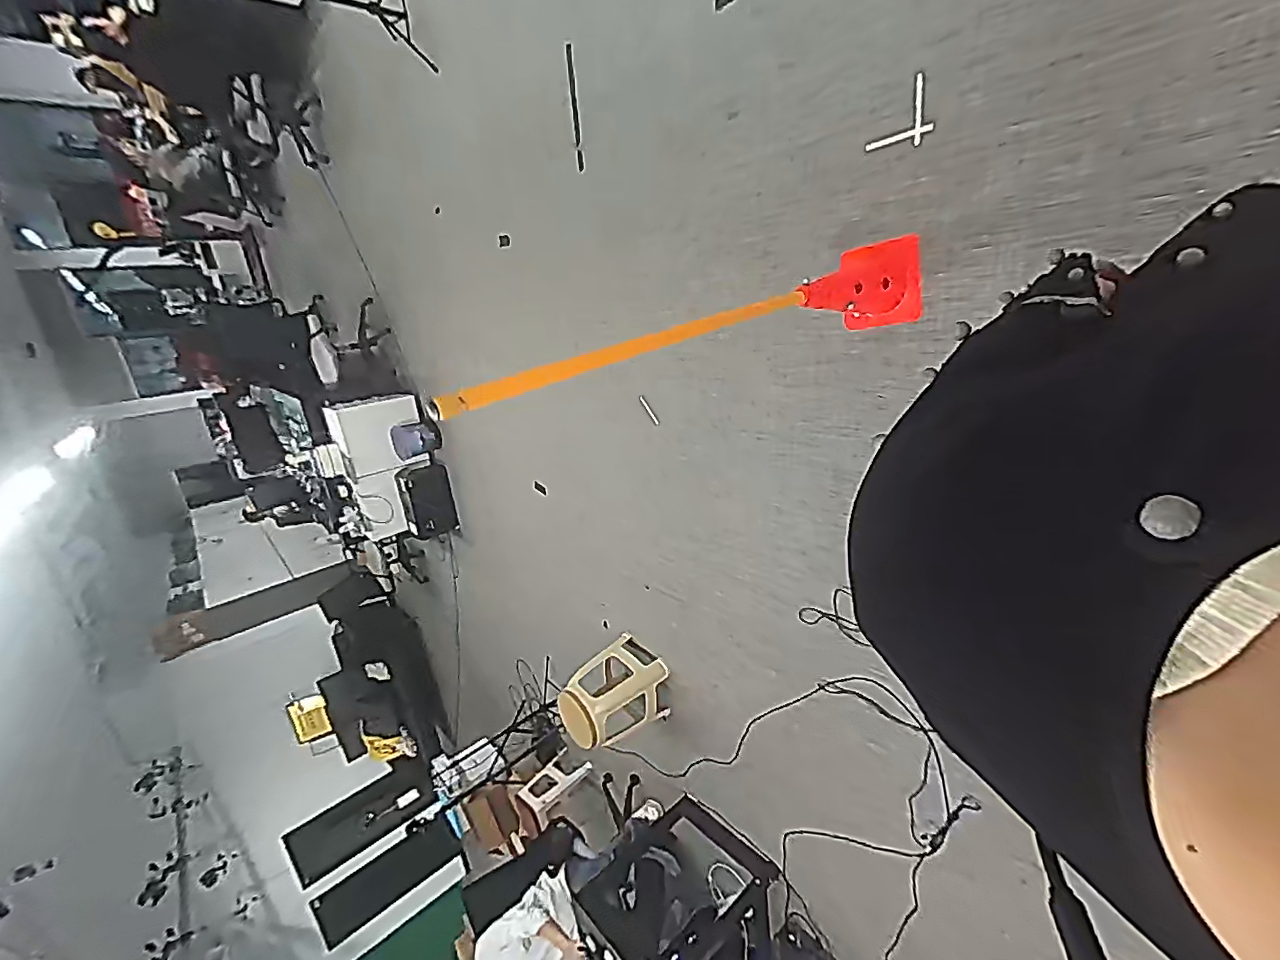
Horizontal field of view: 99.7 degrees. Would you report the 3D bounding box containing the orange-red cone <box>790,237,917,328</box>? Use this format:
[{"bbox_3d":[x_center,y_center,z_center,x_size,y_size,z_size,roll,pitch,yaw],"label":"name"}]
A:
[{"bbox_3d":[0.463,-0.435,1.243,0.199,0.360,0.198,7,112,49],"label":"orange-red cone"}]
